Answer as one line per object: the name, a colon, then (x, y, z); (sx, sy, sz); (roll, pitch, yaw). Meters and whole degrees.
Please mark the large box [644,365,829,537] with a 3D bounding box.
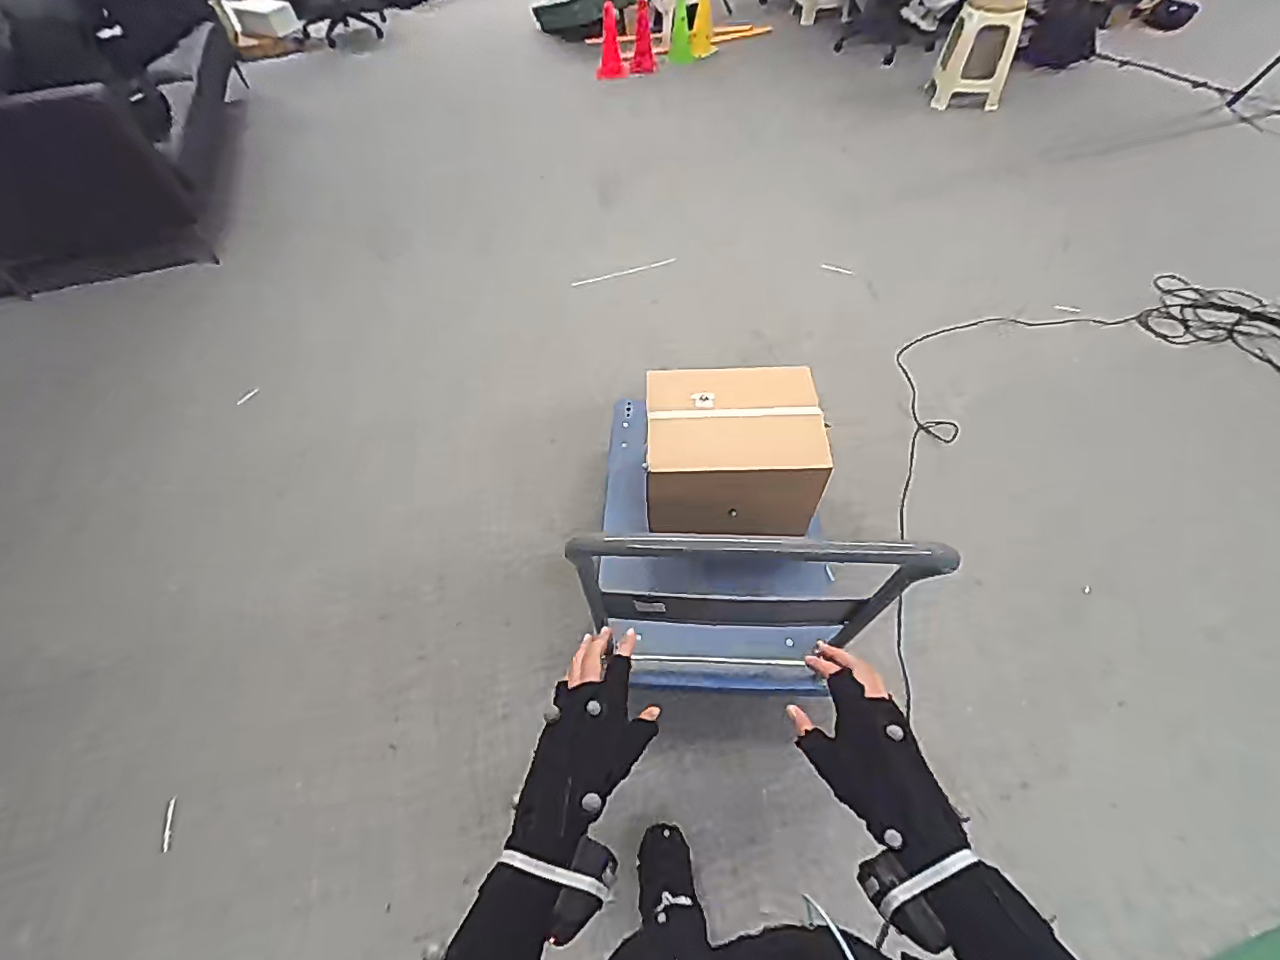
large box: (0.222, -0.065, 1.388); (0.408, 0.320, 0.320); (-3, 55, 3)
